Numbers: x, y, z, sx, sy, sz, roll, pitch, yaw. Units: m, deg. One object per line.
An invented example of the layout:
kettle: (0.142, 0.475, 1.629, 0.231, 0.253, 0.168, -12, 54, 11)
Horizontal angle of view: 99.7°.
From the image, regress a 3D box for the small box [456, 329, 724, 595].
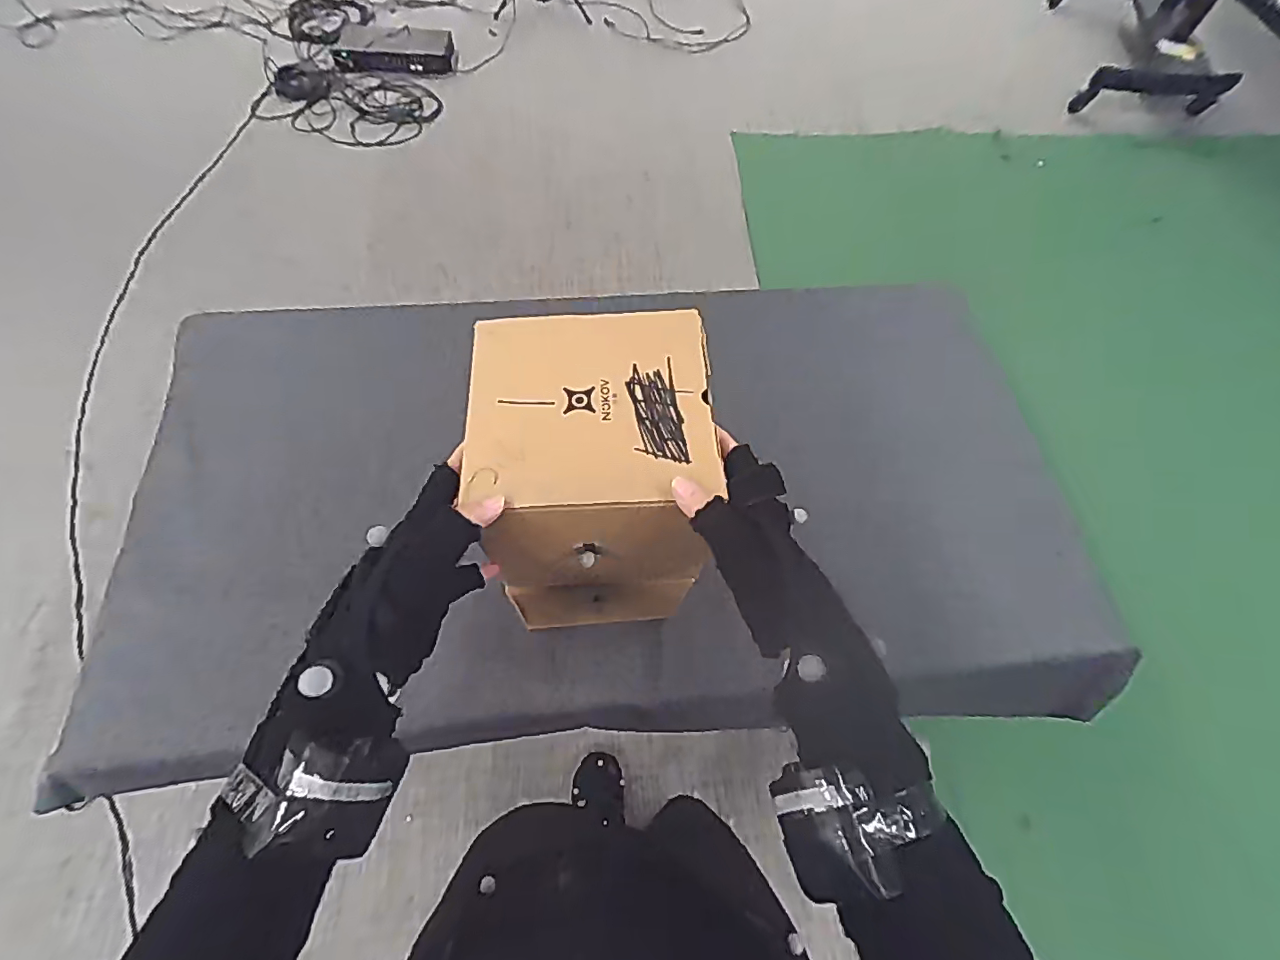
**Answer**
small box: (-0.038, -0.006, 0.455, 0.179, 0.176, 0.168, -3, 62, -3)

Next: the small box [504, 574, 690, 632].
small box: (-0.050, 0.069, 0.605, 0.179, 0.176, 0.168, -3, 65, -6)
